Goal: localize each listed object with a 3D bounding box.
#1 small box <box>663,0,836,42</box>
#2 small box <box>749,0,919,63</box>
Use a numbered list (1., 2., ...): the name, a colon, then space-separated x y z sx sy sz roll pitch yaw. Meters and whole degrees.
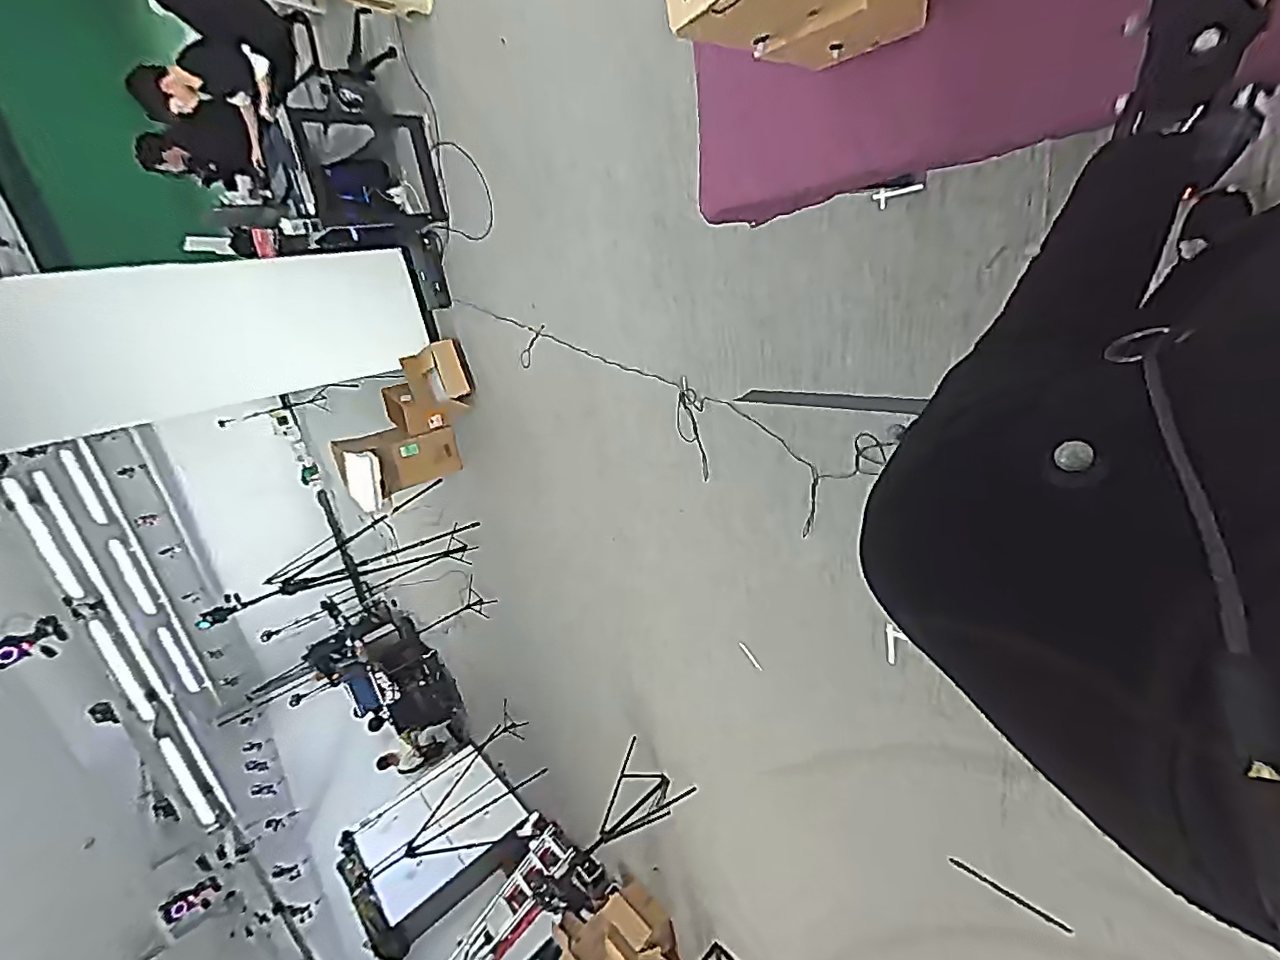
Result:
1. small box: 0.132 -0.635 0.614 0.168 0.176 0.179 11 118 47
2. small box: 0.257 -0.679 0.712 0.168 0.176 0.179 17 122 45
